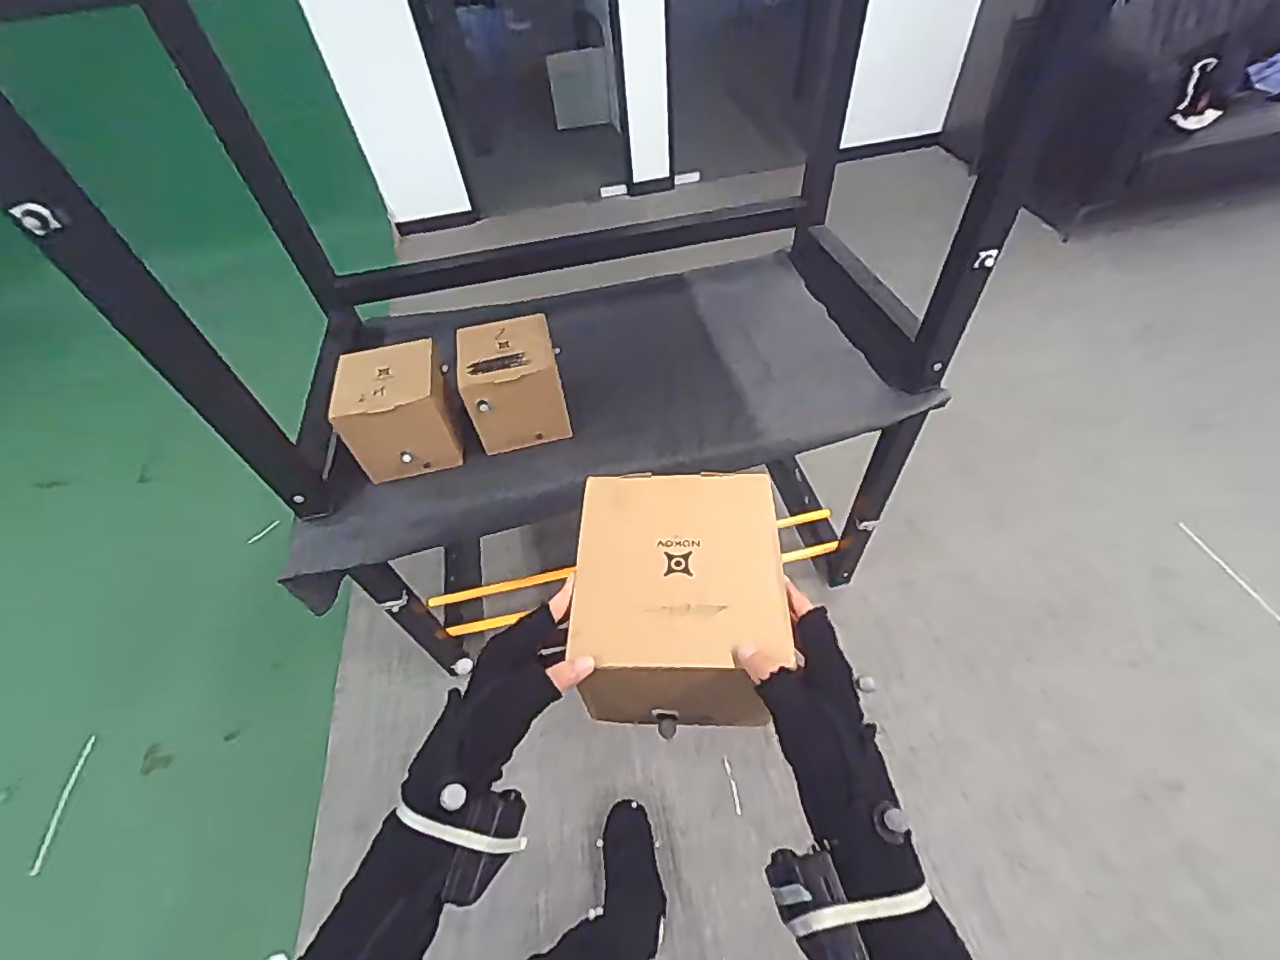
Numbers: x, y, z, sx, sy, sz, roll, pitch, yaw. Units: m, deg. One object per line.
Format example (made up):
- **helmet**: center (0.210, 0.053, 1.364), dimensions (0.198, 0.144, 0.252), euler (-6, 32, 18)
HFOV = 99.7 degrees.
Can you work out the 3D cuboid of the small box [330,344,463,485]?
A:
- **small box**: center (-0.431, -0.118, 0.987), dimensions (0.168, 0.176, 0.179), euler (-13, 50, -6)
